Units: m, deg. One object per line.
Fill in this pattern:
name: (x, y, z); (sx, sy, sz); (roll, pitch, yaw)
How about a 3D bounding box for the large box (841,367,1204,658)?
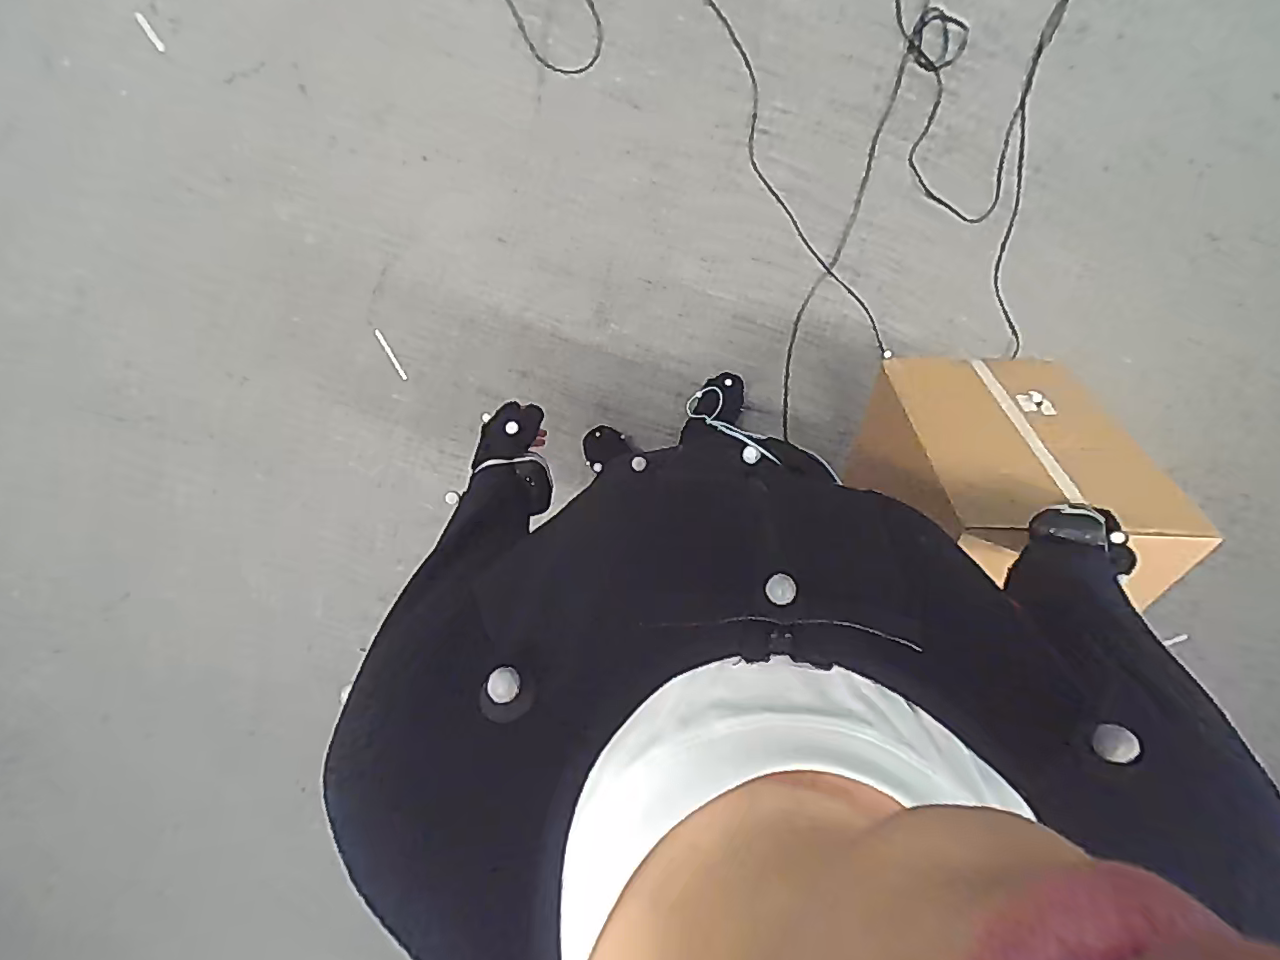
large box: (0.572, 0.047, 0.928); (0.320, 0.408, 0.320); (3, 132, 3)
